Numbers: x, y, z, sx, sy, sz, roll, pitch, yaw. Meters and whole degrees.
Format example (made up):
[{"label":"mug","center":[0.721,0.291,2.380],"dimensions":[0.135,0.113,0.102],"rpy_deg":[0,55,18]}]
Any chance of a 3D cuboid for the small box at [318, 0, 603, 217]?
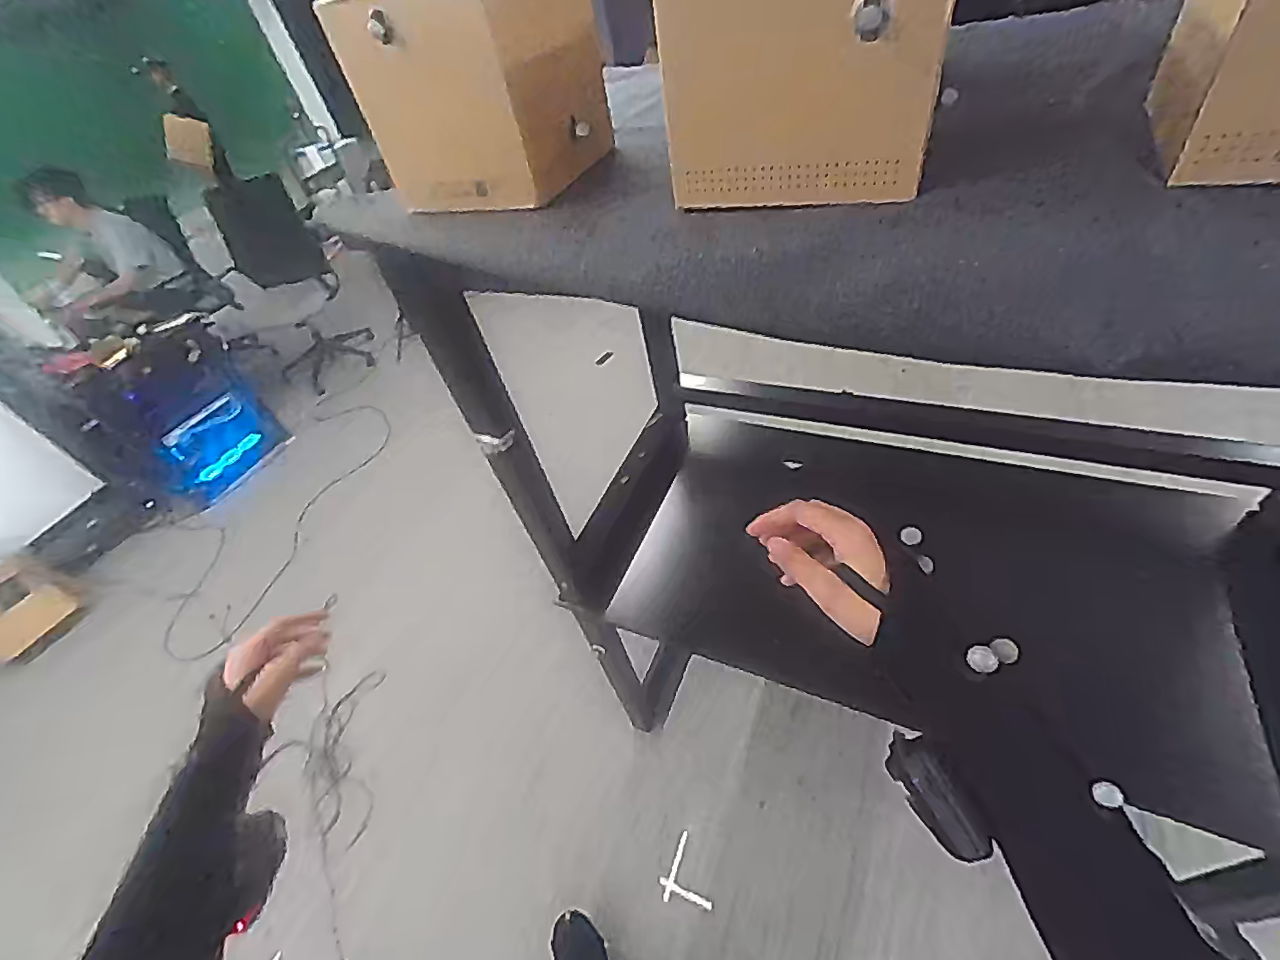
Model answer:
[{"label":"small box","center":[-0.147,-0.372,0.519],"dimensions":[0.168,0.176,0.179],"rpy_deg":[10,50,22]}]
